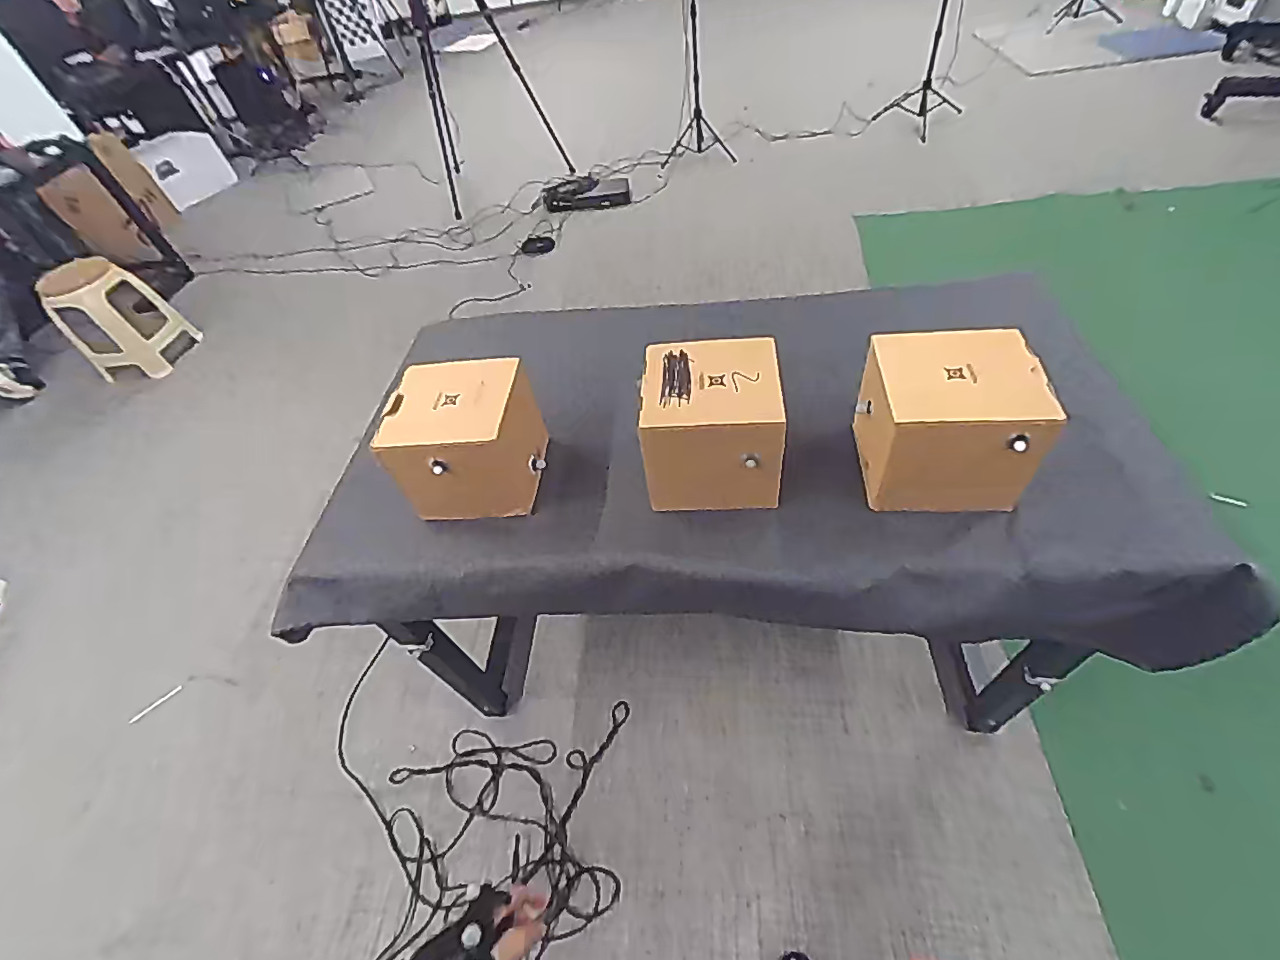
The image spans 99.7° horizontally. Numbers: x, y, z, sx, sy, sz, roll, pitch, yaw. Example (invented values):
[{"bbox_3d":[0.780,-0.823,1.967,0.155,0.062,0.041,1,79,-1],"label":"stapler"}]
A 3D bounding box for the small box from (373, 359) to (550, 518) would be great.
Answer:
[{"bbox_3d":[-0.247,-0.056,0.796,0.179,0.176,0.168,-2,51,7],"label":"small box"}]

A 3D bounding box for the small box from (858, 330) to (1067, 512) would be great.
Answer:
[{"bbox_3d":[0.388,-0.071,0.694,0.179,0.176,0.168,0,50,10],"label":"small box"}]
